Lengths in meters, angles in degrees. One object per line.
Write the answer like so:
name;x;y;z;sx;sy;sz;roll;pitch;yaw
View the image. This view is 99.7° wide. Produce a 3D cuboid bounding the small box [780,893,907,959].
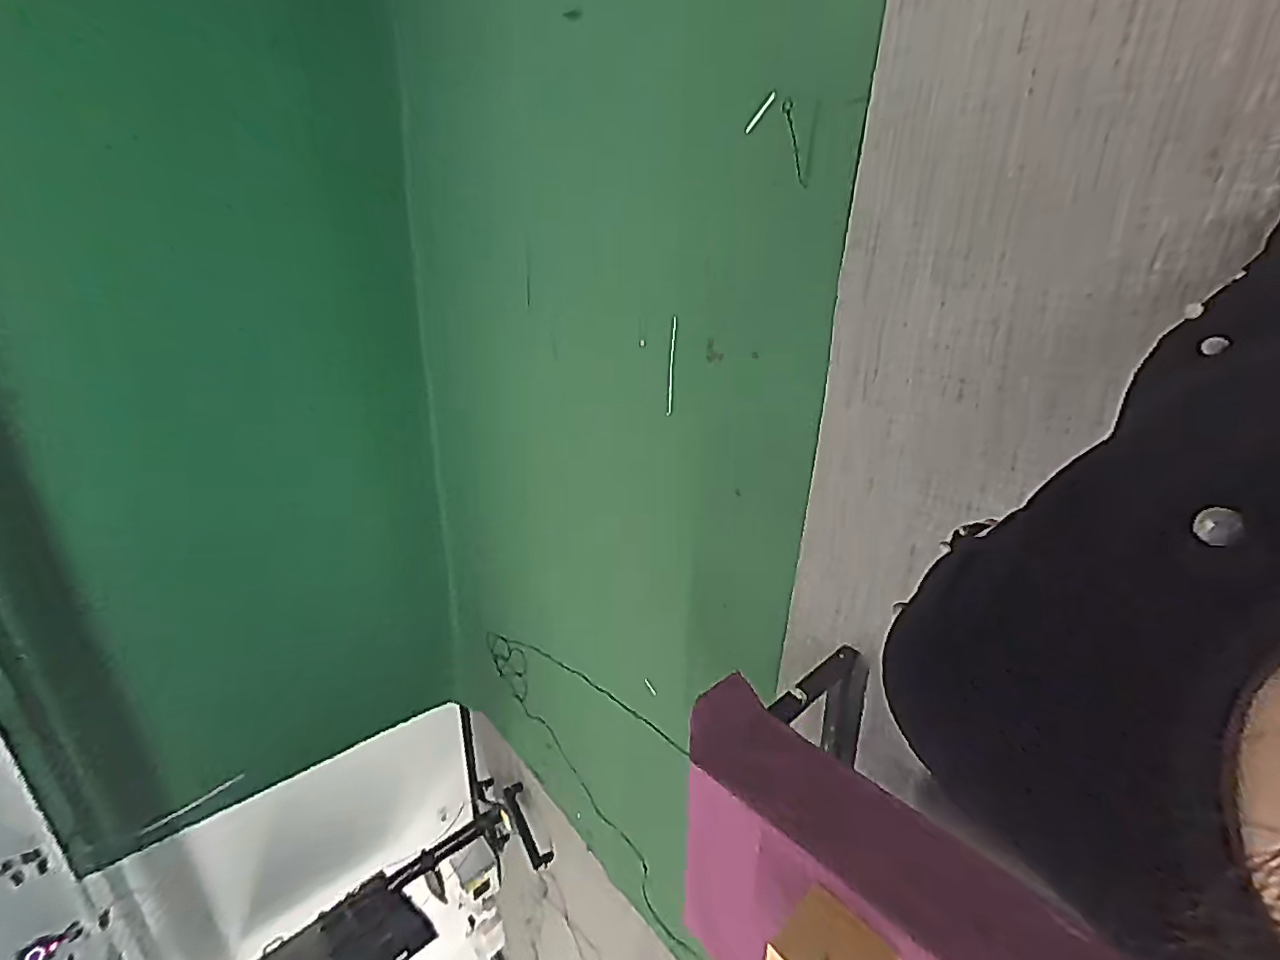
small box;0.372;0.928;0.995;0.179;0.176;0.168;21;118;44
